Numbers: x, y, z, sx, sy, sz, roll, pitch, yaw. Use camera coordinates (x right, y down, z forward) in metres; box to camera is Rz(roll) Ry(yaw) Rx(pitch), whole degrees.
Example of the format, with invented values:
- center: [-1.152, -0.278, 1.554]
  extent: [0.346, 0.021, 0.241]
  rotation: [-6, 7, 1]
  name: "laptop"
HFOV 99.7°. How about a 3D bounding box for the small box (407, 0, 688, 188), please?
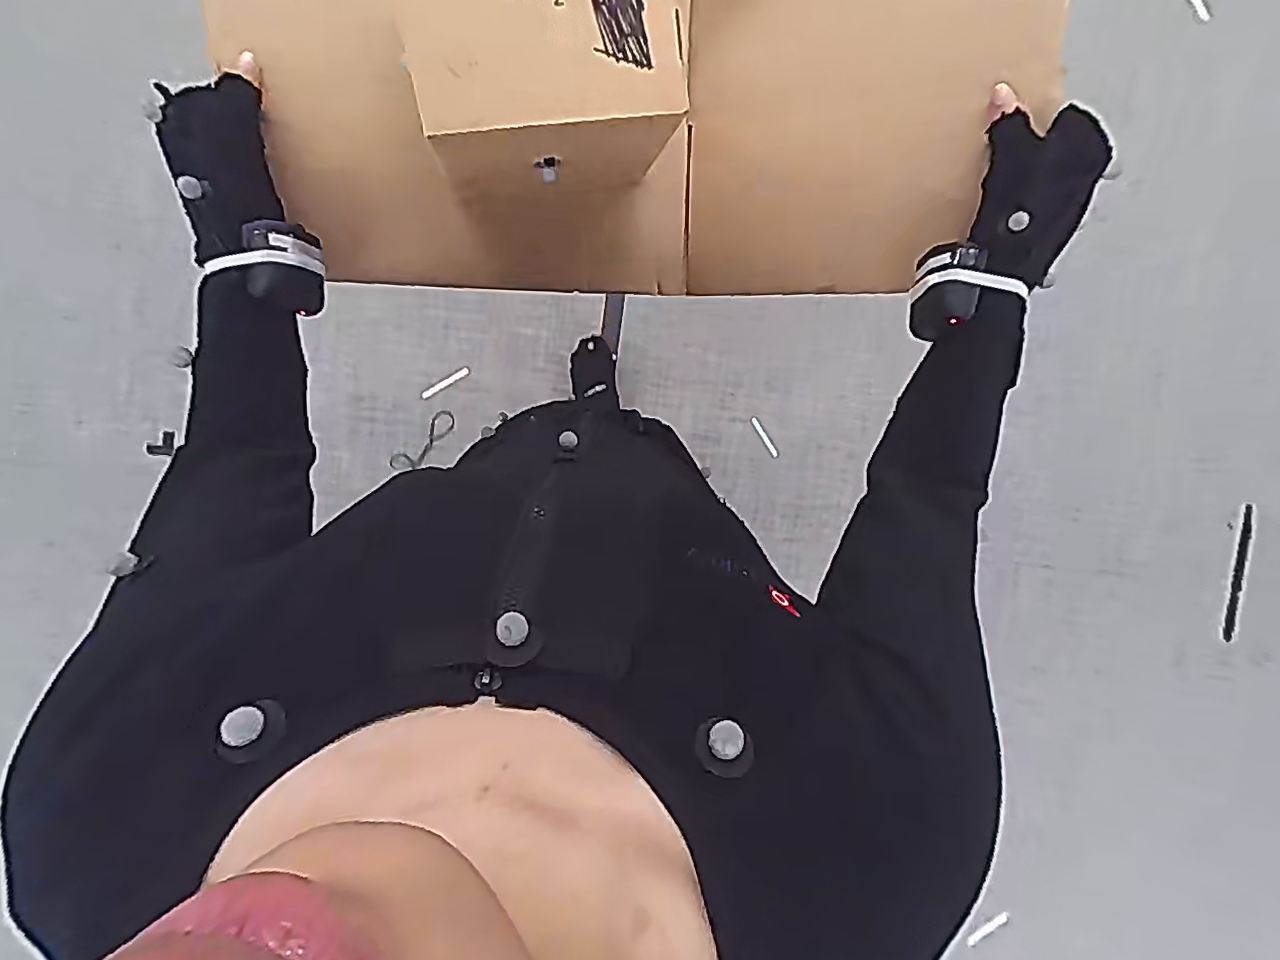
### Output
- center: [-0.075, -0.341, 0.416]
  extent: [0.179, 0.176, 0.168]
  rotation: [-10, 106, -8]
  name: "small box"
